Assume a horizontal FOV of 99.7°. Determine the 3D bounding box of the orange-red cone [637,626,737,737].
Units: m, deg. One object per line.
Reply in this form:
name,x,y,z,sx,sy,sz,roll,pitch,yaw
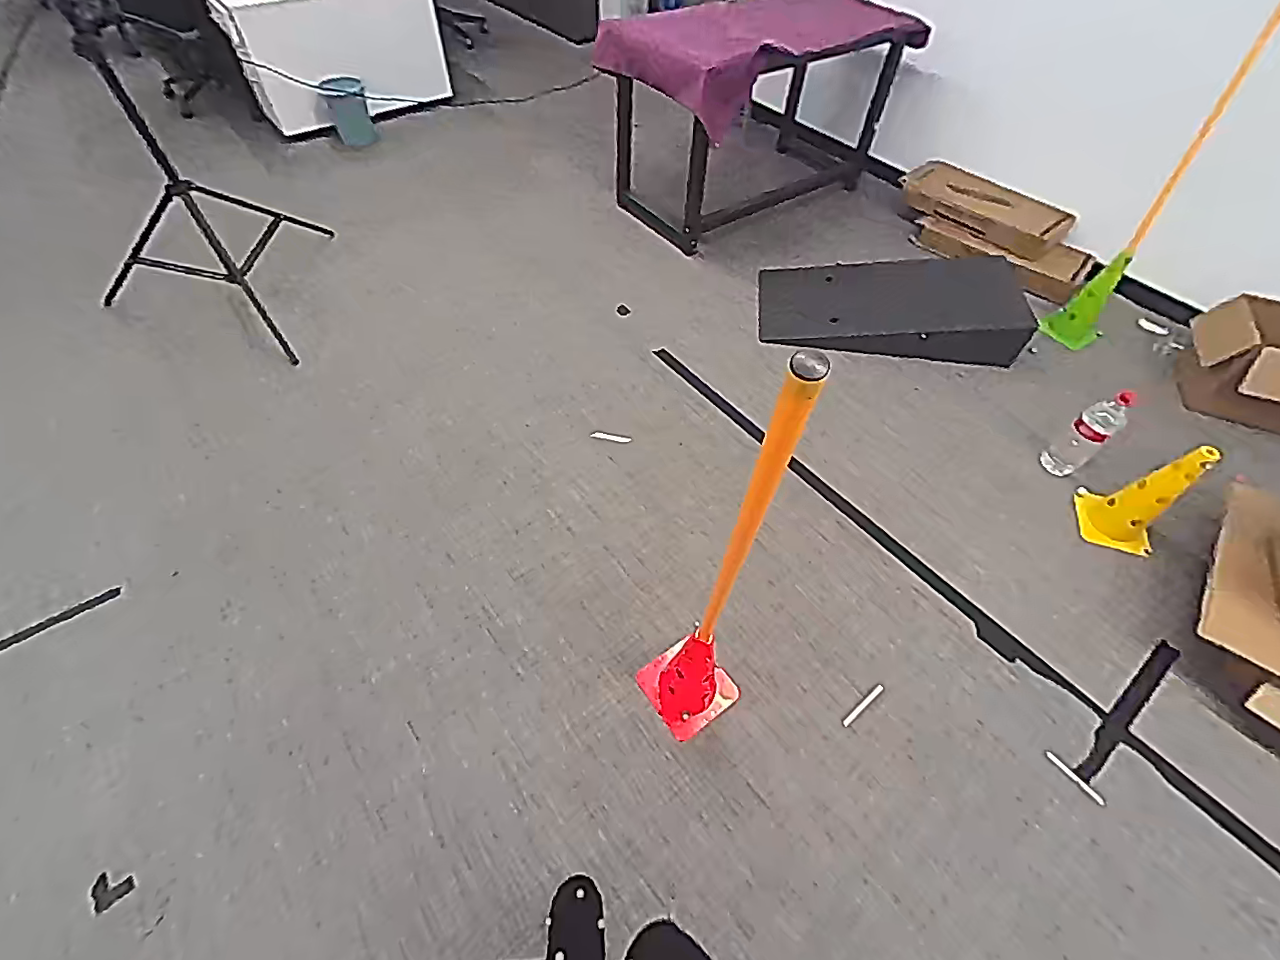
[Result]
orange-red cone,0.124,0.409,1.216,0.199,0.360,0.198,-28,60,-22
